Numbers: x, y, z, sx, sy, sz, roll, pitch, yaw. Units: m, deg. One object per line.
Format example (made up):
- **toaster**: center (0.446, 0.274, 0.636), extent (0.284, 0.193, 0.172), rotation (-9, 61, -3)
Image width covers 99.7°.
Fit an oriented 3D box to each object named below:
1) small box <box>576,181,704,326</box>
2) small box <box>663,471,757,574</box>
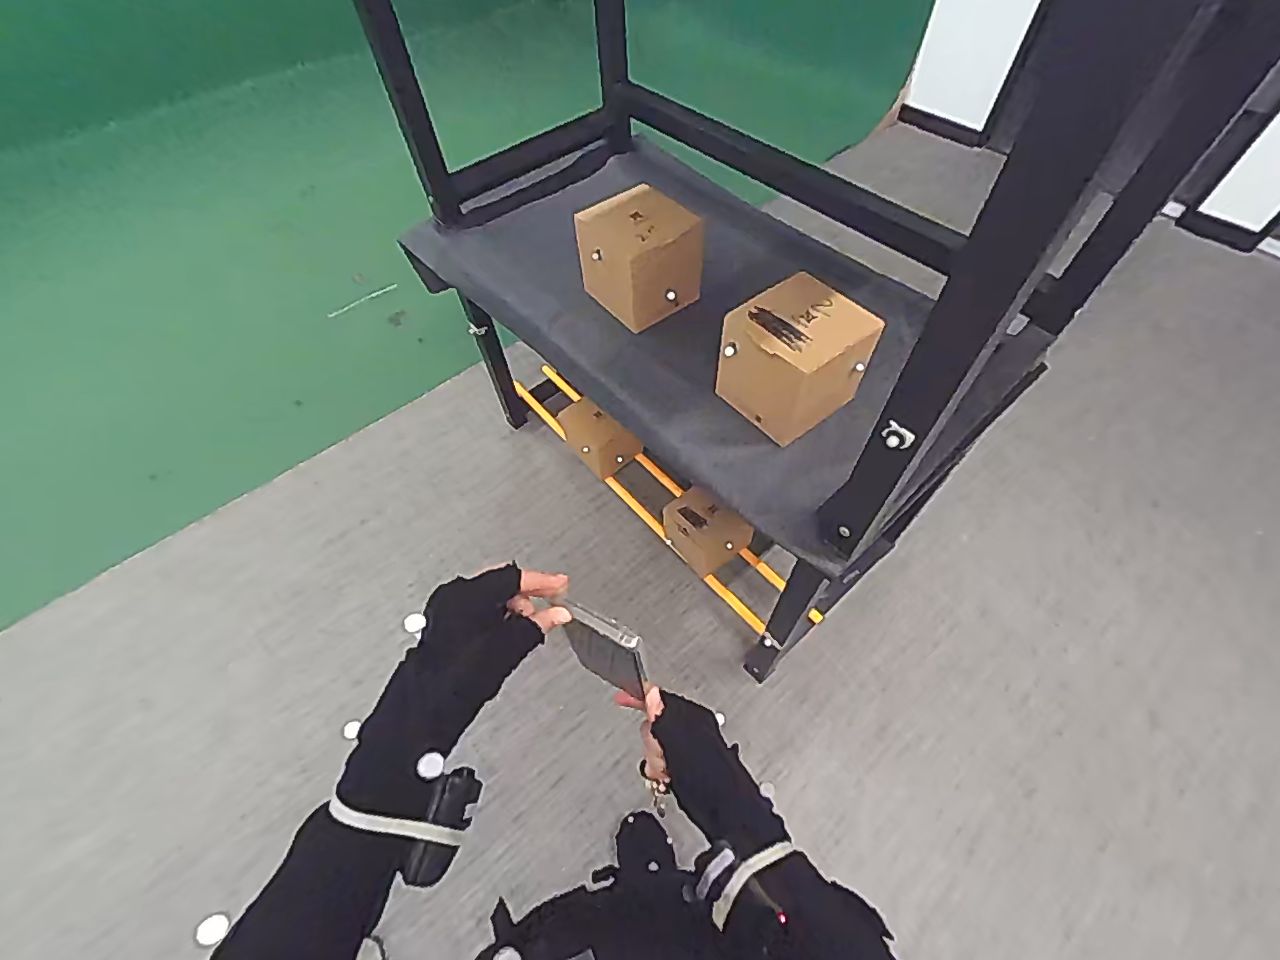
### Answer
- **small box**: center (0.000, -0.428, 1.030), extent (0.168, 0.176, 0.179), rotation (-34, 61, -18)
- **small box**: center (0.180, 0.116, 1.409), extent (0.179, 0.176, 0.168), rotation (-34, 62, -17)
